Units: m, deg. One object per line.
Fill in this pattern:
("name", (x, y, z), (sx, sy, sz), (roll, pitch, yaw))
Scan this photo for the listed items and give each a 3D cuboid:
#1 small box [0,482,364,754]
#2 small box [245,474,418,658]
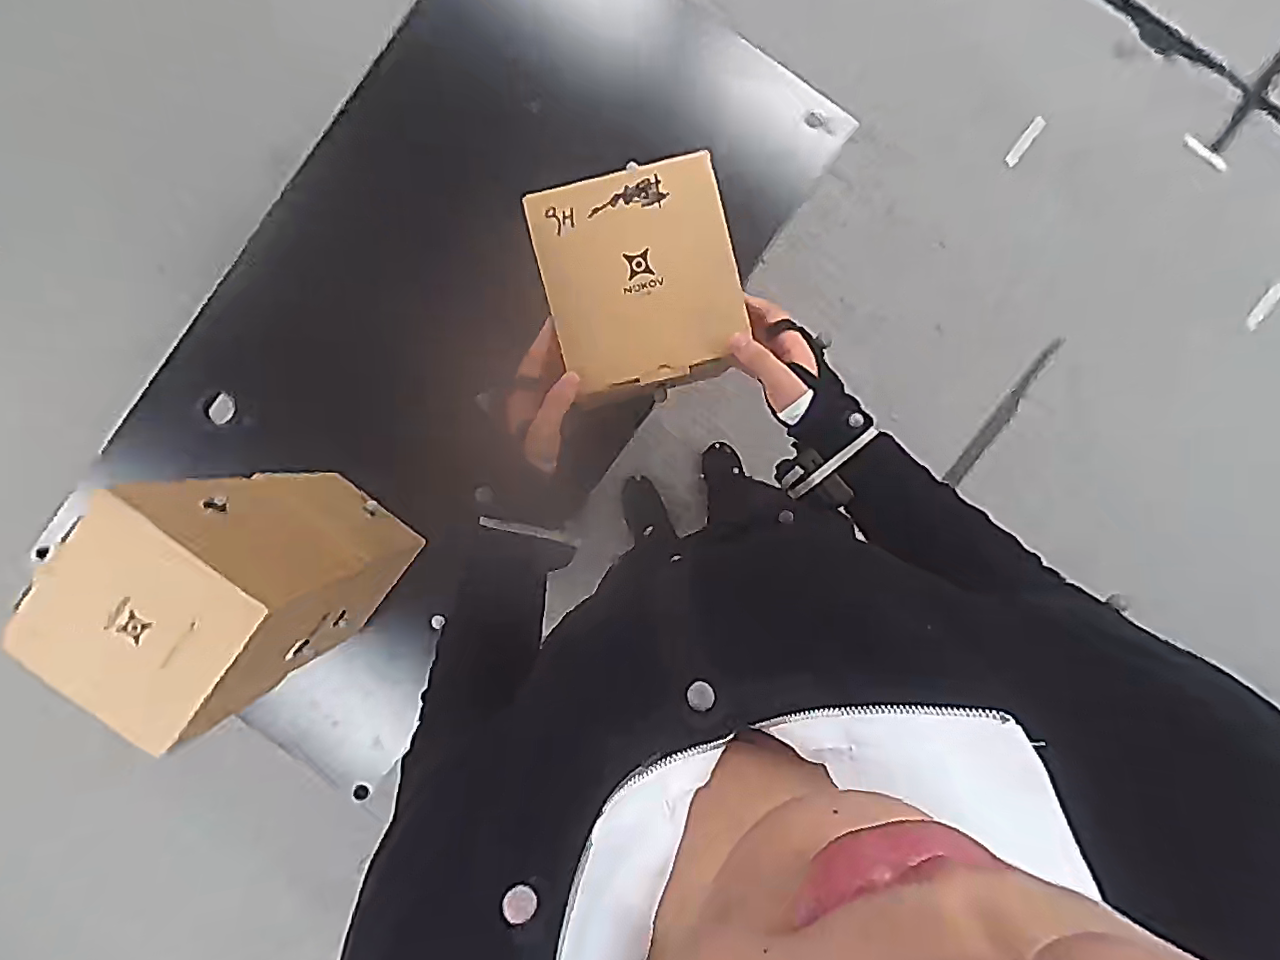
("small box", (-0.422, 0.115, 0.531), (0.179, 0.176, 0.168), (36, 92, -2))
("small box", (-0.422, 0.109, 0.694), (0.168, 0.176, 0.179), (37, 90, -1))
